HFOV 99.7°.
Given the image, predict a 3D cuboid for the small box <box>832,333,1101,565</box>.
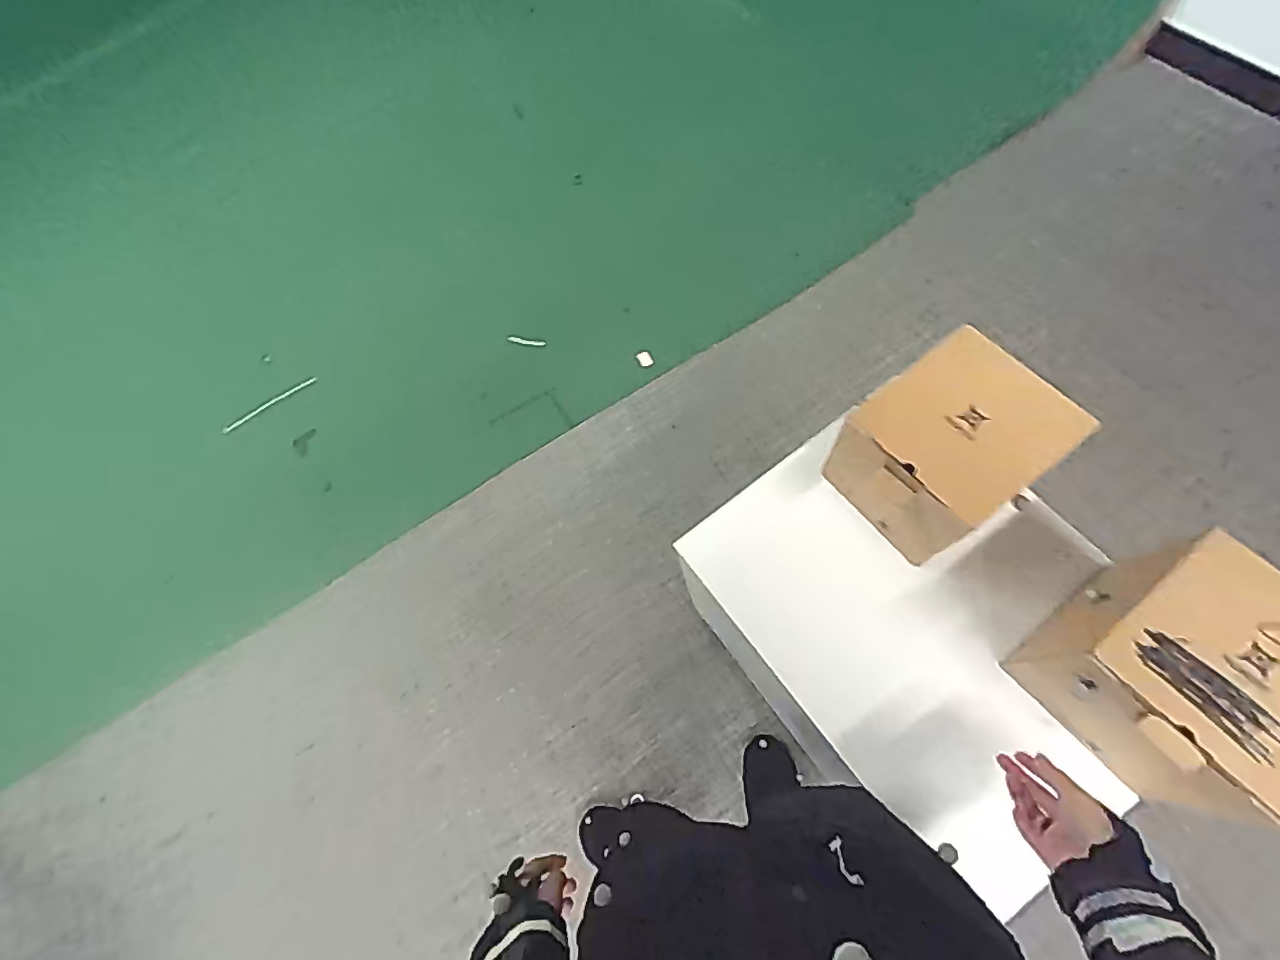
[{"bbox_3d":[0.351,-0.026,0.625,0.179,0.176,0.168,-37,69,-5],"label":"small box"}]
